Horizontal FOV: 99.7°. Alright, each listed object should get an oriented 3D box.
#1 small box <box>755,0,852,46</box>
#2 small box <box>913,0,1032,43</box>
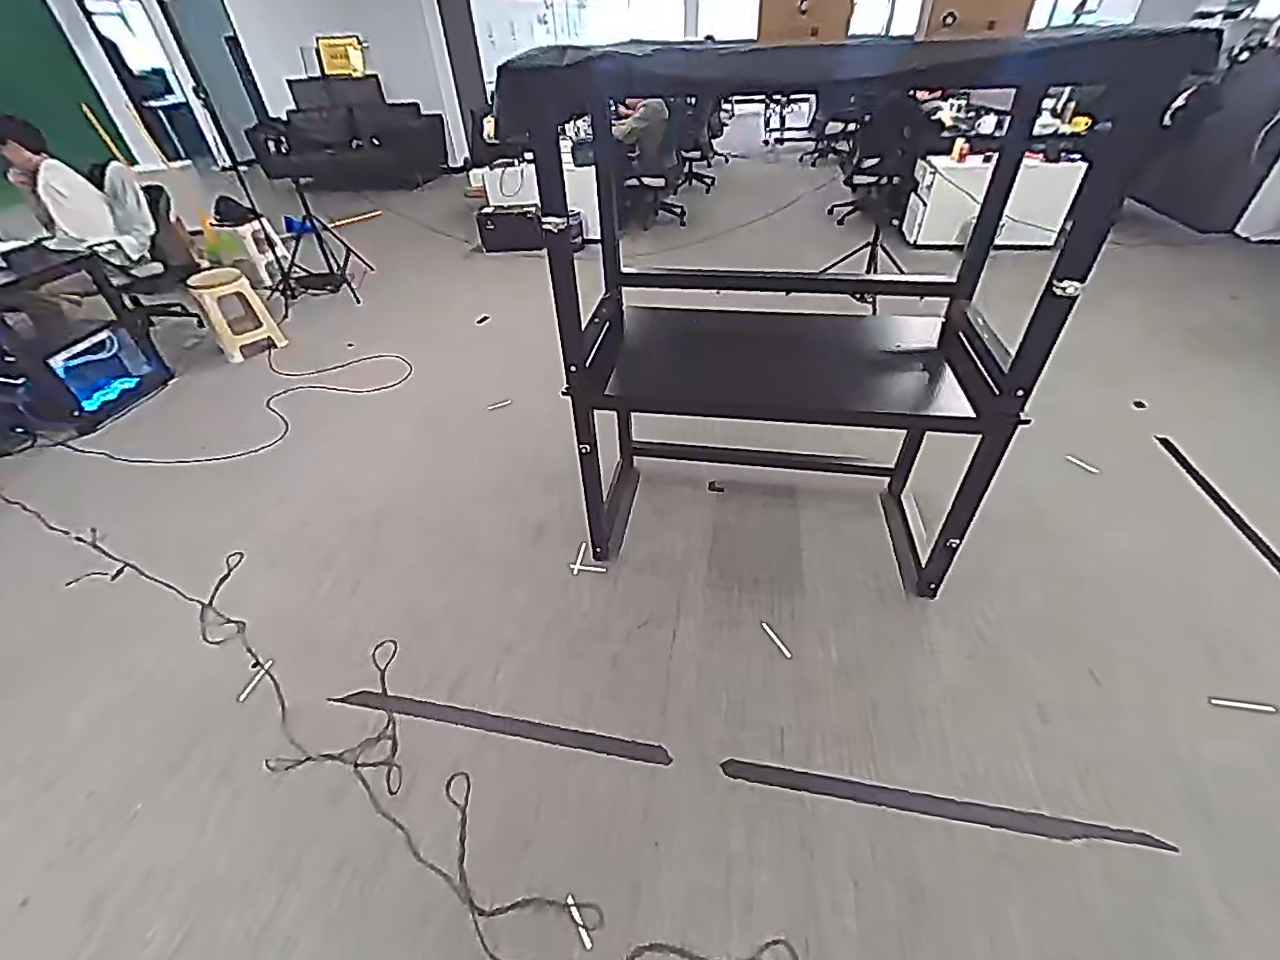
[{"bbox_3d":[0.307,-0.919,1.006,0.168,0.176,0.179,5,39,10],"label":"small box"},{"bbox_3d":[0.602,-0.895,0.962,0.168,0.176,0.179,8,39,13],"label":"small box"}]
